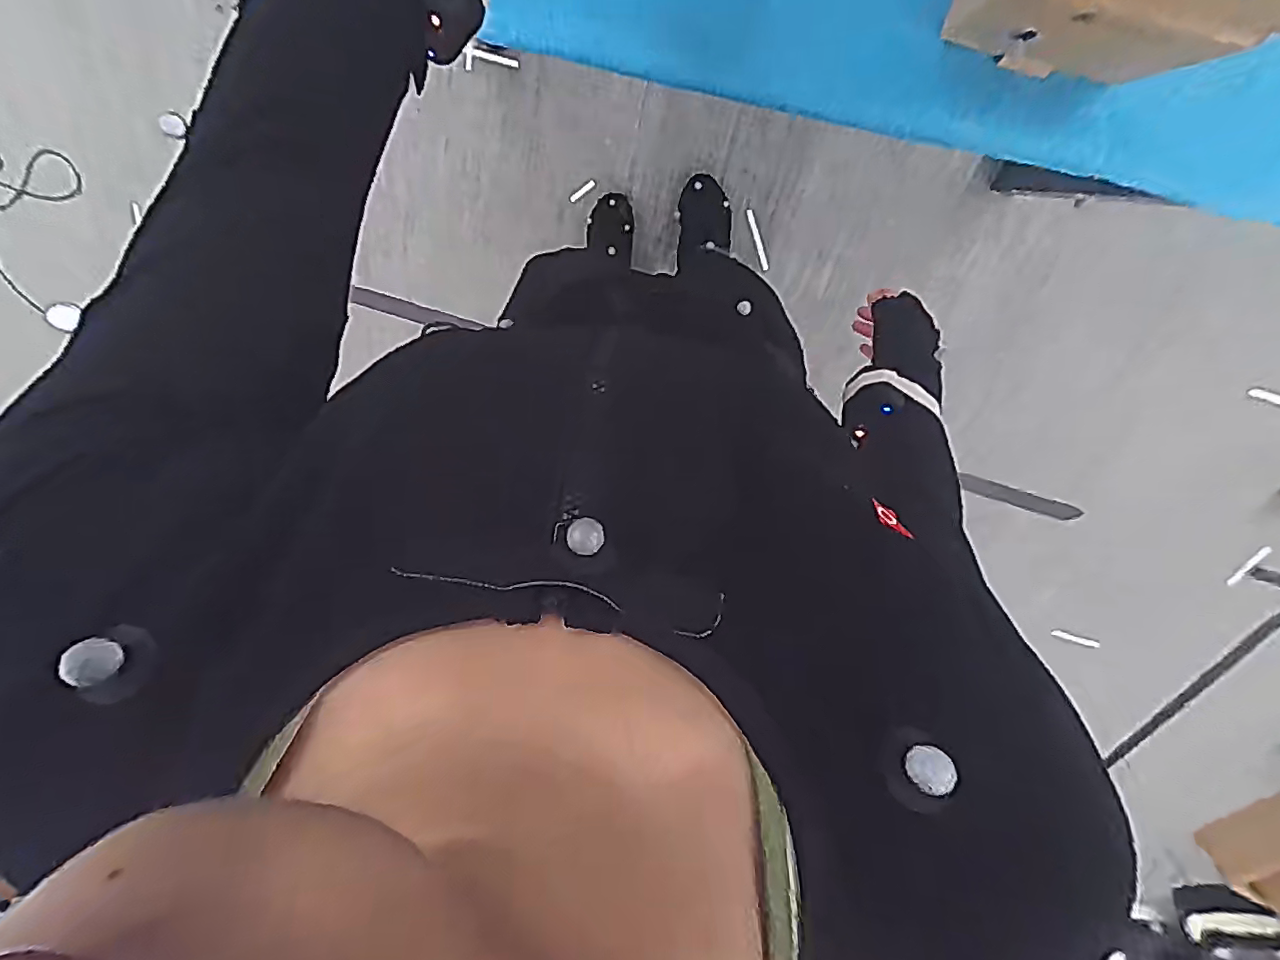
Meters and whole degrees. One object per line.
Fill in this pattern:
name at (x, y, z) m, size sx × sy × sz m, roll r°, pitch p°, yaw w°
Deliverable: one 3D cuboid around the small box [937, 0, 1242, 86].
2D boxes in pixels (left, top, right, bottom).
small box at (0.354, -0.415, 0.384) m, size 0.168 × 0.176 × 0.179 m, roll 15°, pitch 120°, yaw 1°
